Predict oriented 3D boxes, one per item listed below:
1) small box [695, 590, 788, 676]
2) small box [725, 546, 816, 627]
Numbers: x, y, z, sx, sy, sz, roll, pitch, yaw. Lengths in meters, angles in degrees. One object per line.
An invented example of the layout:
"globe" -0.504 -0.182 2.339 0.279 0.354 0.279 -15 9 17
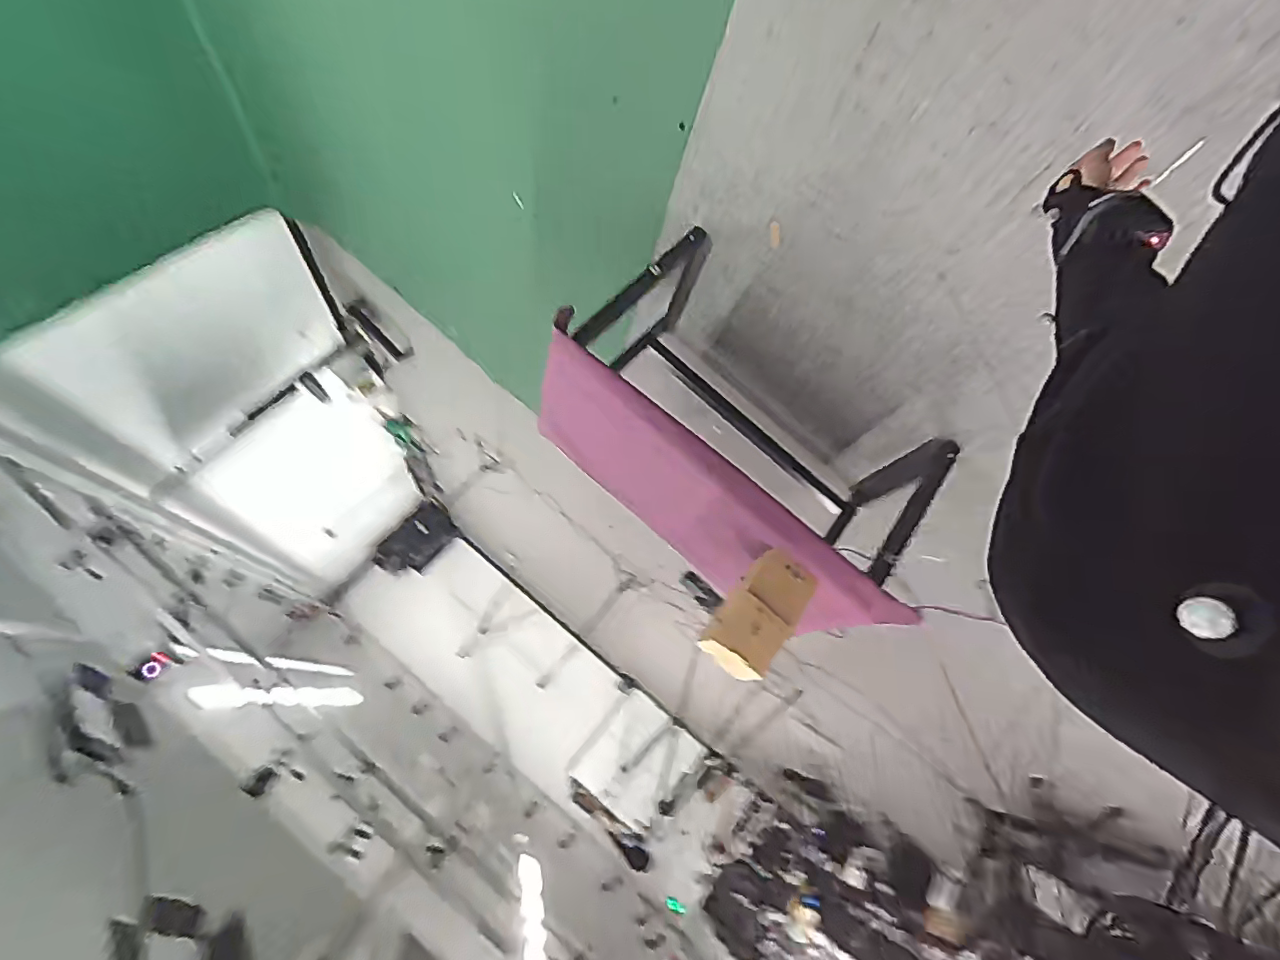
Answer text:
"small box" 0.286 0.426 1.512 0.168 0.176 0.179 41 155 3
"small box" 0.385 0.320 1.588 0.168 0.176 0.179 40 156 4
